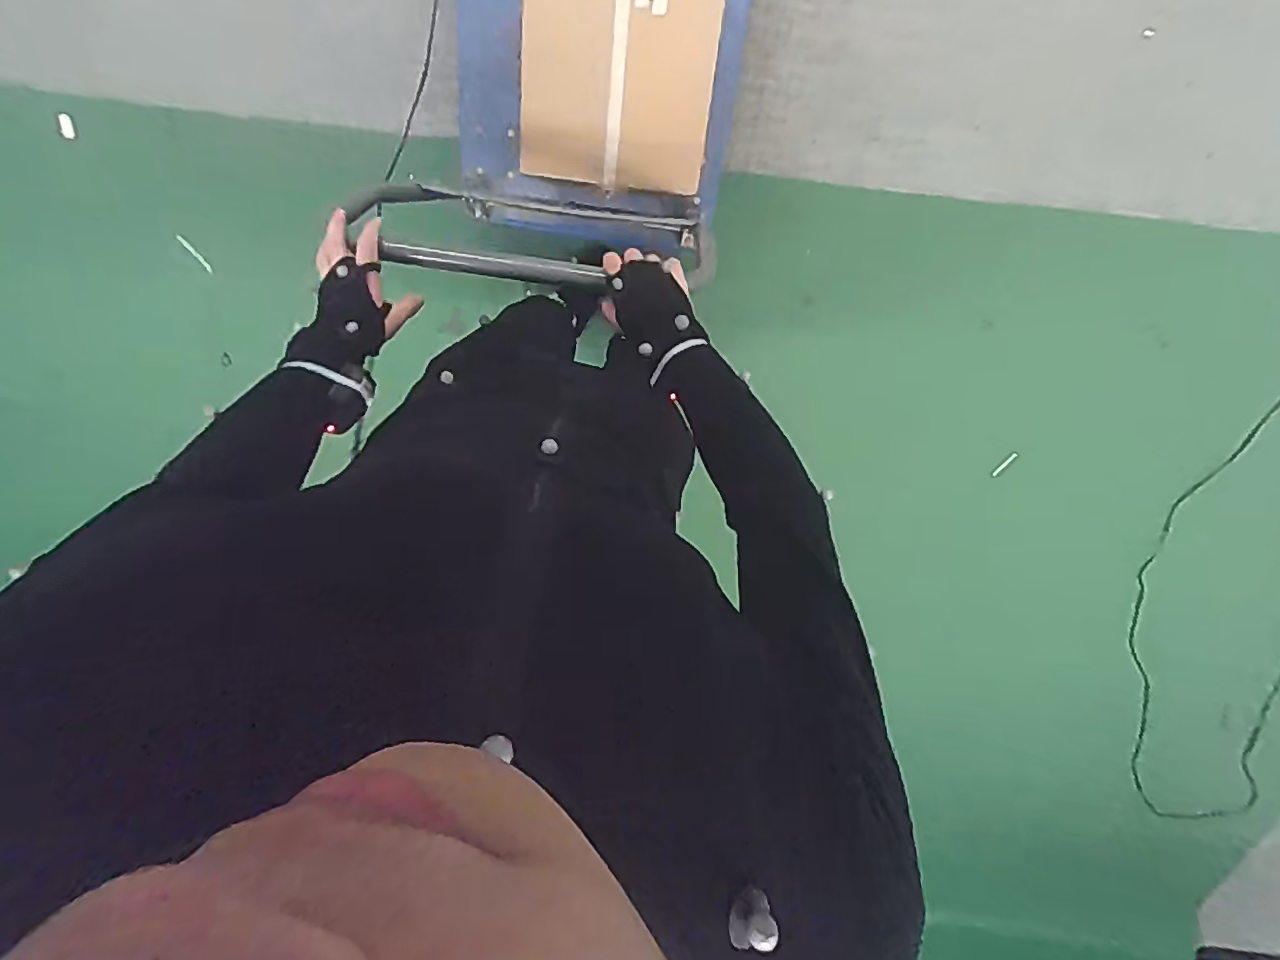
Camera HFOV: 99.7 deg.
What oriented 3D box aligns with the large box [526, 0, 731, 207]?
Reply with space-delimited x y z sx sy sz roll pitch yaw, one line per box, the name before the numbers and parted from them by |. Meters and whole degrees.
large box | -0.016 -0.746 0.994 0.320 0.320 0.408 7 114 -1
